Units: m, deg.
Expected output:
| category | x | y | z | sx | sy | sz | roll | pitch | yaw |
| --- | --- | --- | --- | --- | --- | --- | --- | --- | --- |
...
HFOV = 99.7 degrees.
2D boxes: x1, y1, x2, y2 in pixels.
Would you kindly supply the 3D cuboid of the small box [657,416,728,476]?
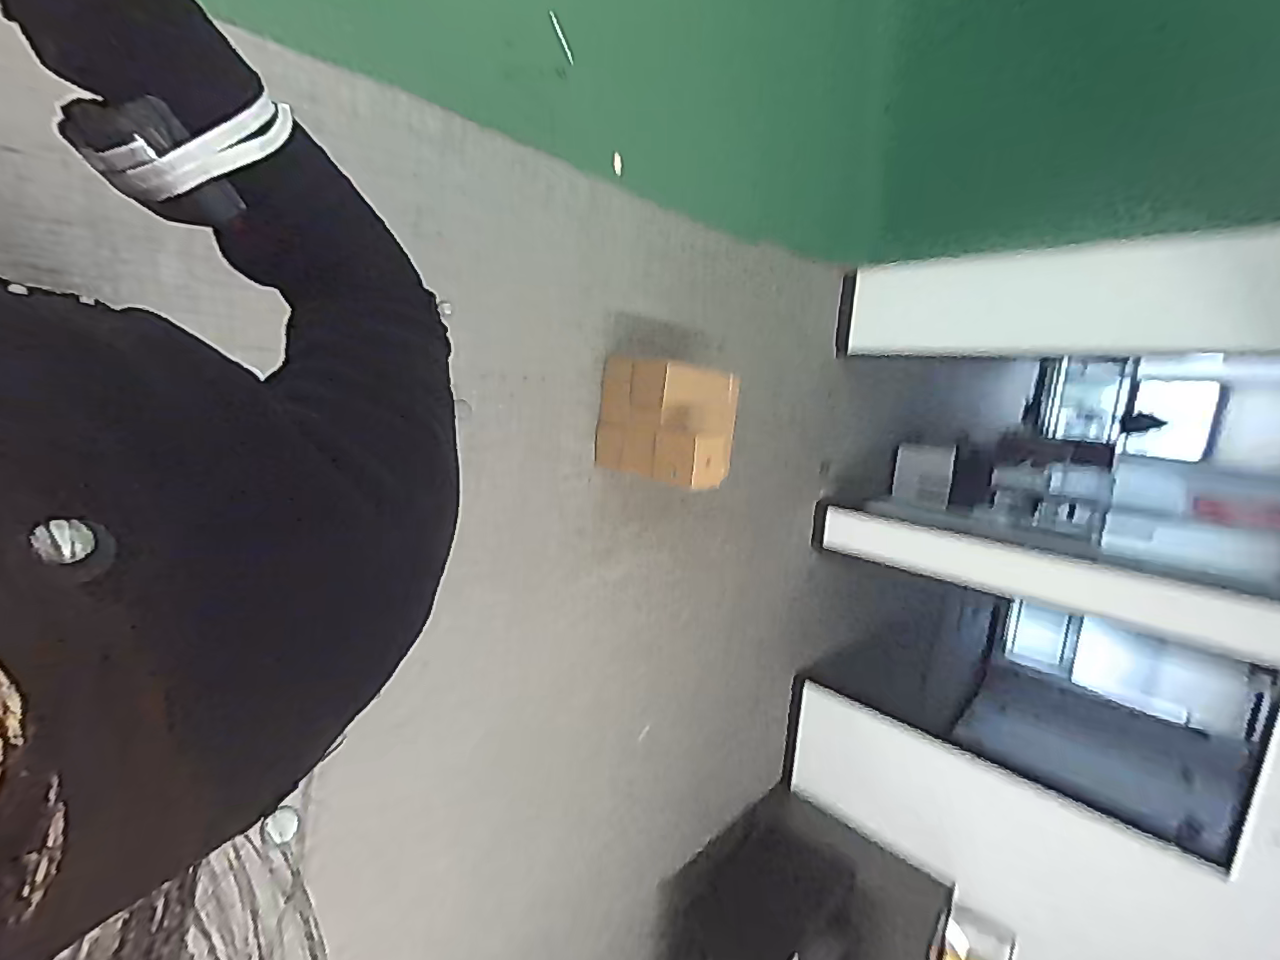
| category | x | y | z | sx | sy | sz | roll | pitch | yaw |
| --- | --- | --- | --- | --- | --- | --- | --- | --- | --- |
| small box | 0.173 | -0.118 | 1.818 | 0.168 | 0.176 | 0.179 | -8 | 106 | -47 |
